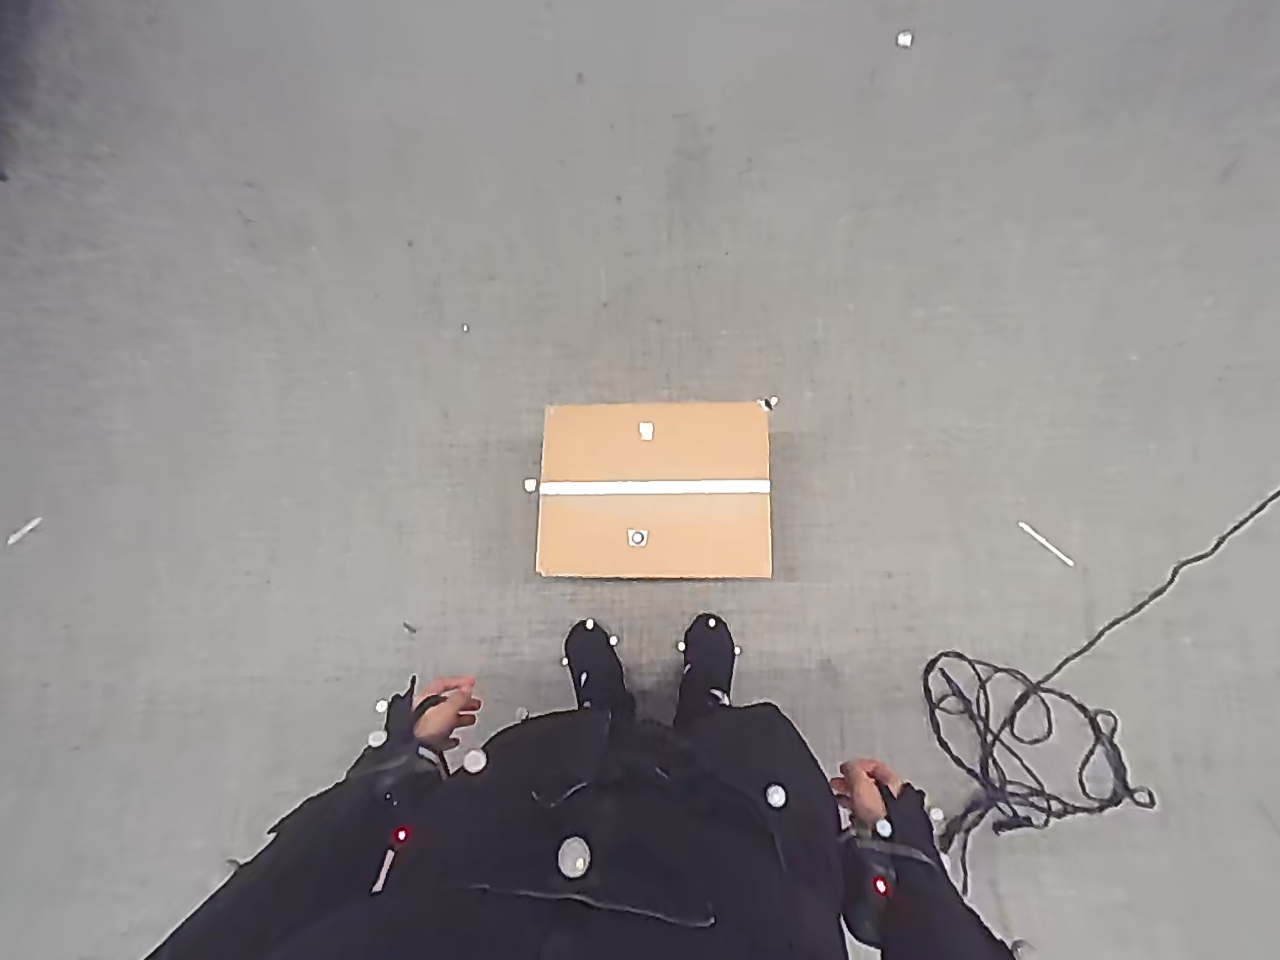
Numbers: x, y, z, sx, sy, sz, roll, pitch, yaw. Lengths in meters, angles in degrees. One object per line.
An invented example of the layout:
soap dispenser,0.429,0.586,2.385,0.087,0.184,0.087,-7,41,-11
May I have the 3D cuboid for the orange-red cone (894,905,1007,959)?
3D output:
orange-red cone,0.578,0.920,0.869,0.199,0.360,0.198,18,83,5
